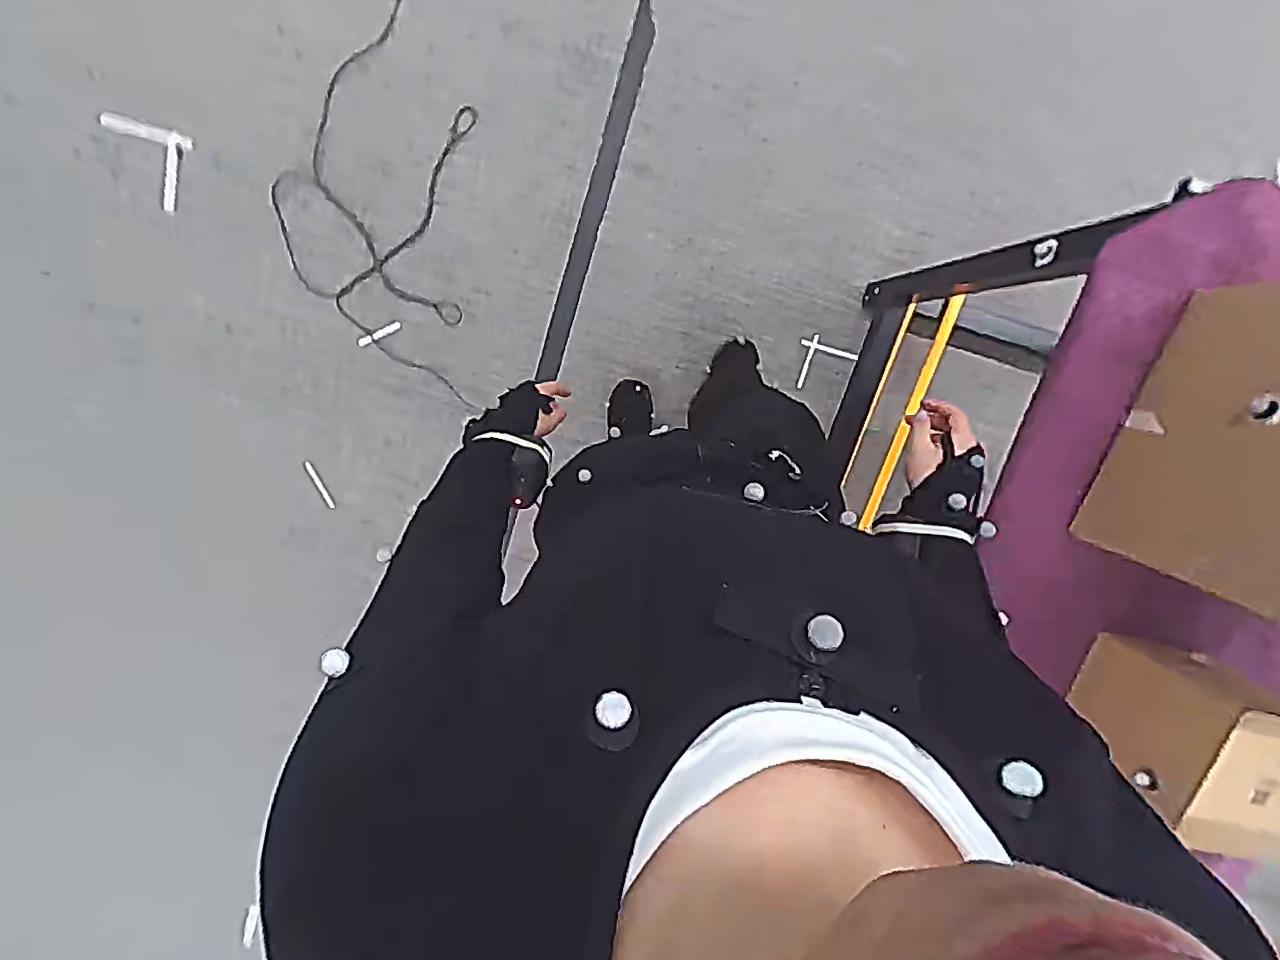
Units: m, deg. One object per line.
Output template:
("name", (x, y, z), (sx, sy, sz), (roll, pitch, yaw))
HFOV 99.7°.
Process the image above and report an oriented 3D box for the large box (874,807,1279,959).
("large box", (0.580, 0.668, 0.665), (0.408, 0.320, 0.320), (15, 102, -10))
